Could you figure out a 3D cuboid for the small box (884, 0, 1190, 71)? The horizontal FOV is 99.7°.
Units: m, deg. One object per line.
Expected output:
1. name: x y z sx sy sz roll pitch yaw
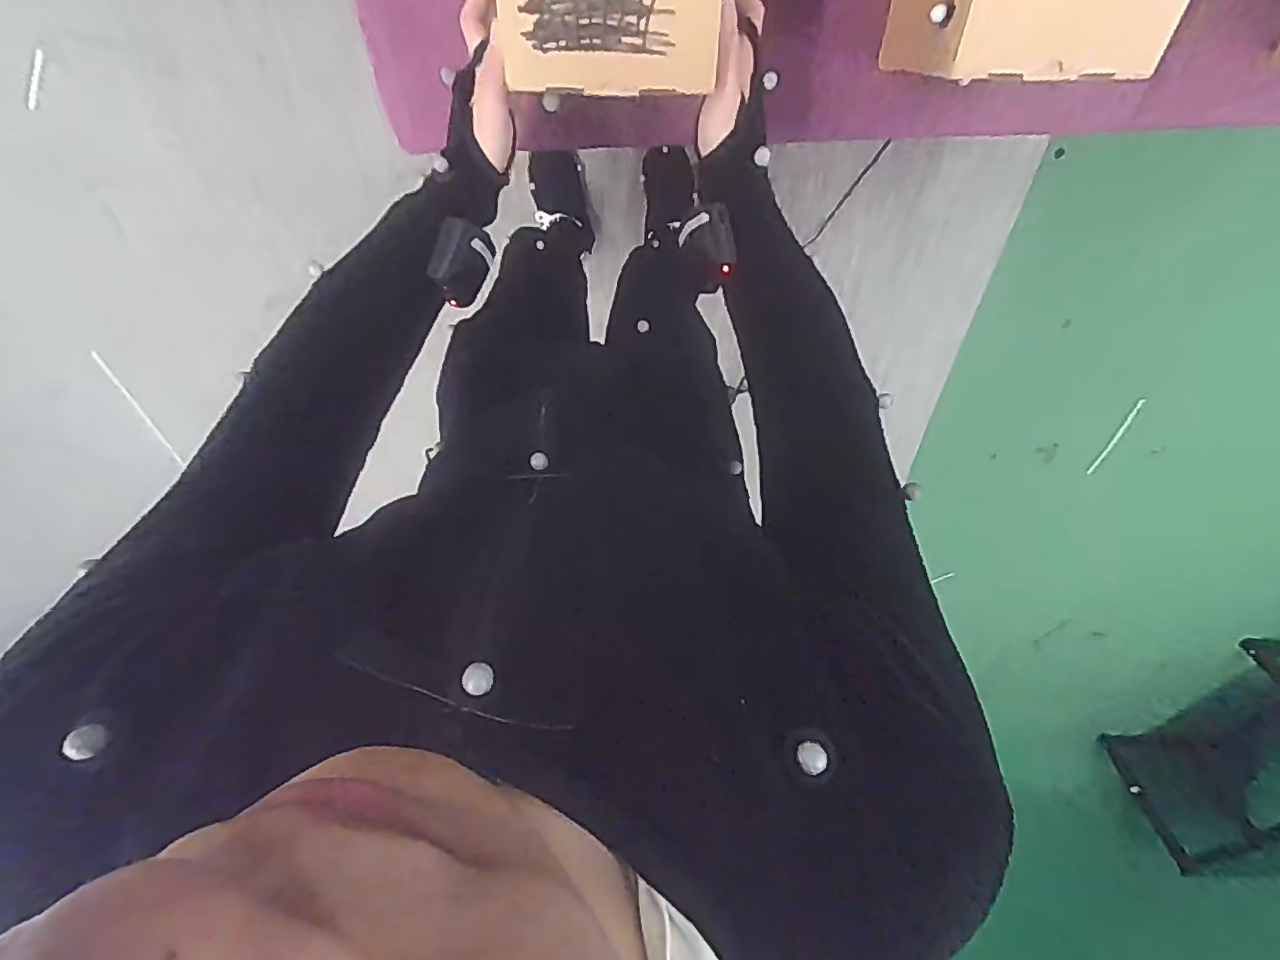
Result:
1. small box: 0.319 -0.437 0.427 0.168 0.176 0.179 -1 131 -1
